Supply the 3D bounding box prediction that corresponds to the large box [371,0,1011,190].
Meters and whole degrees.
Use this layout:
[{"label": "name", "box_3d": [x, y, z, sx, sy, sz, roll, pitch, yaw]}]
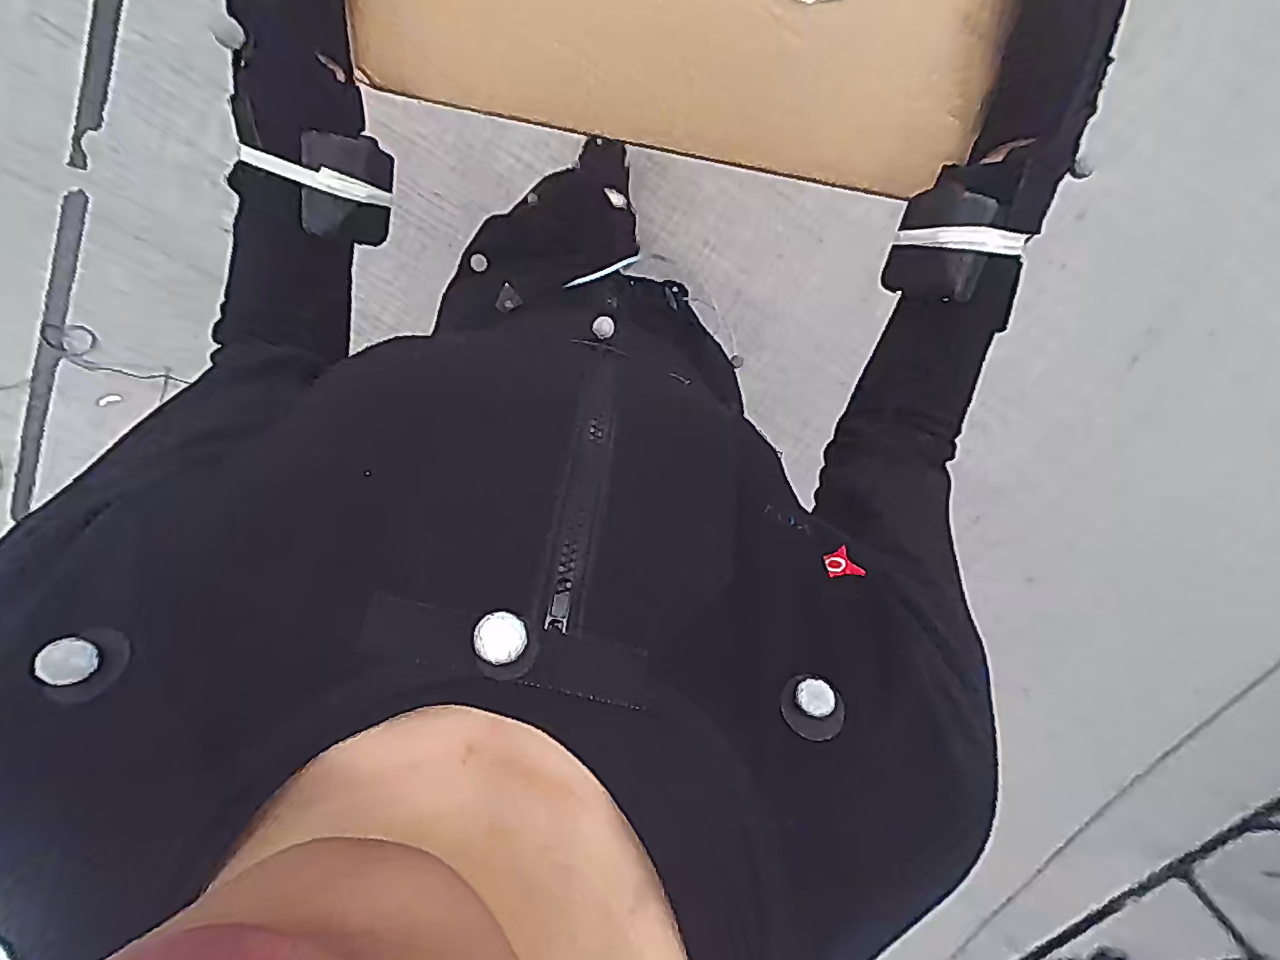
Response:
[{"label": "large box", "box_3d": [0.044, -0.445, 0.421, 0.408, 0.320, 0.320, 9, 124, -5]}]
